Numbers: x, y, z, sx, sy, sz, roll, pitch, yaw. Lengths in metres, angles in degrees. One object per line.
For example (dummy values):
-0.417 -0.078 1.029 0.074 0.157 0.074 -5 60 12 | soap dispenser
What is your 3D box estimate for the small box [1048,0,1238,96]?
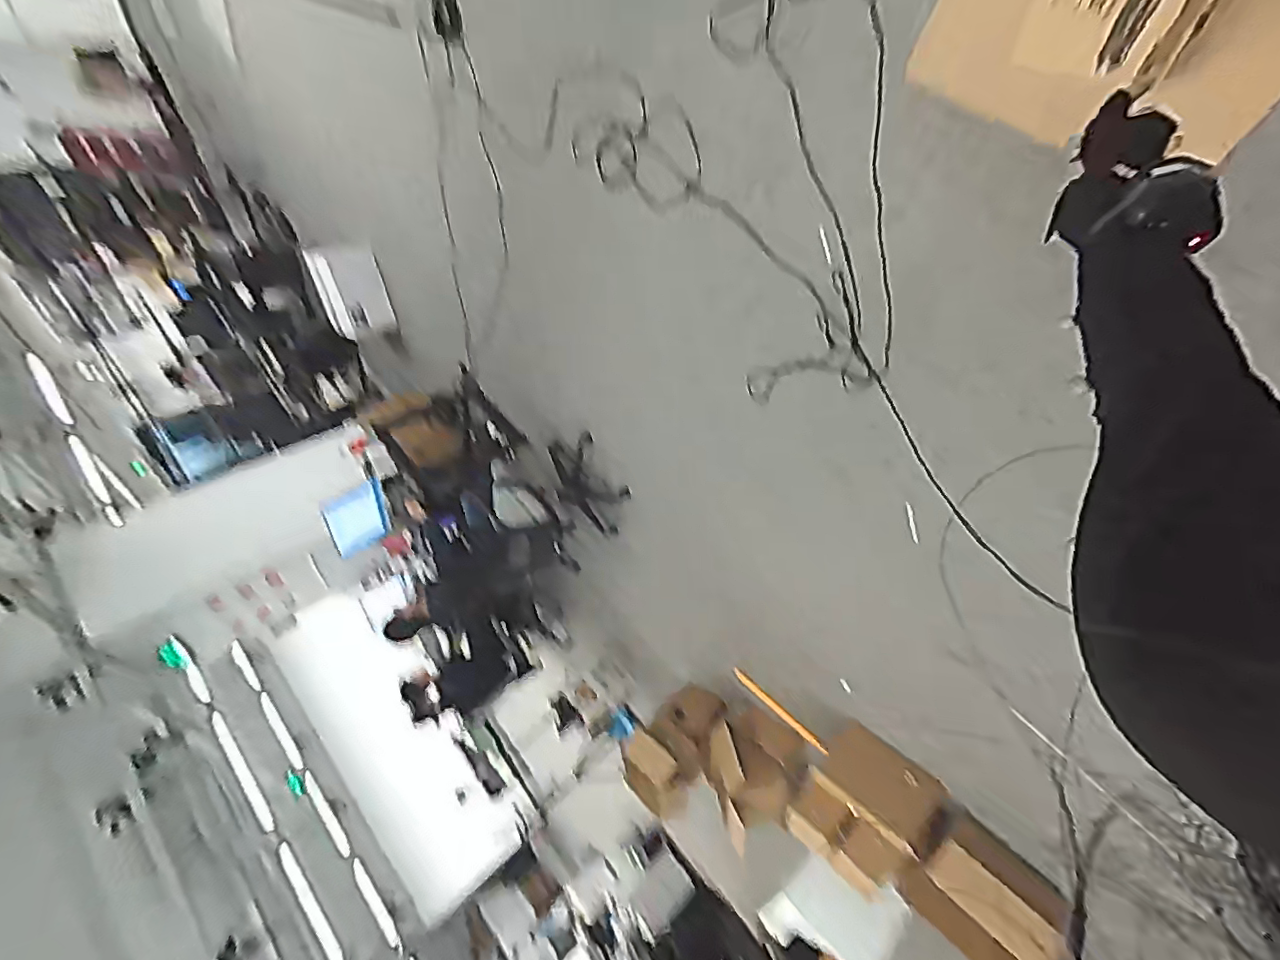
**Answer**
0.824 -0.746 0.872 0.179 0.176 0.168 41 144 26 | small box
